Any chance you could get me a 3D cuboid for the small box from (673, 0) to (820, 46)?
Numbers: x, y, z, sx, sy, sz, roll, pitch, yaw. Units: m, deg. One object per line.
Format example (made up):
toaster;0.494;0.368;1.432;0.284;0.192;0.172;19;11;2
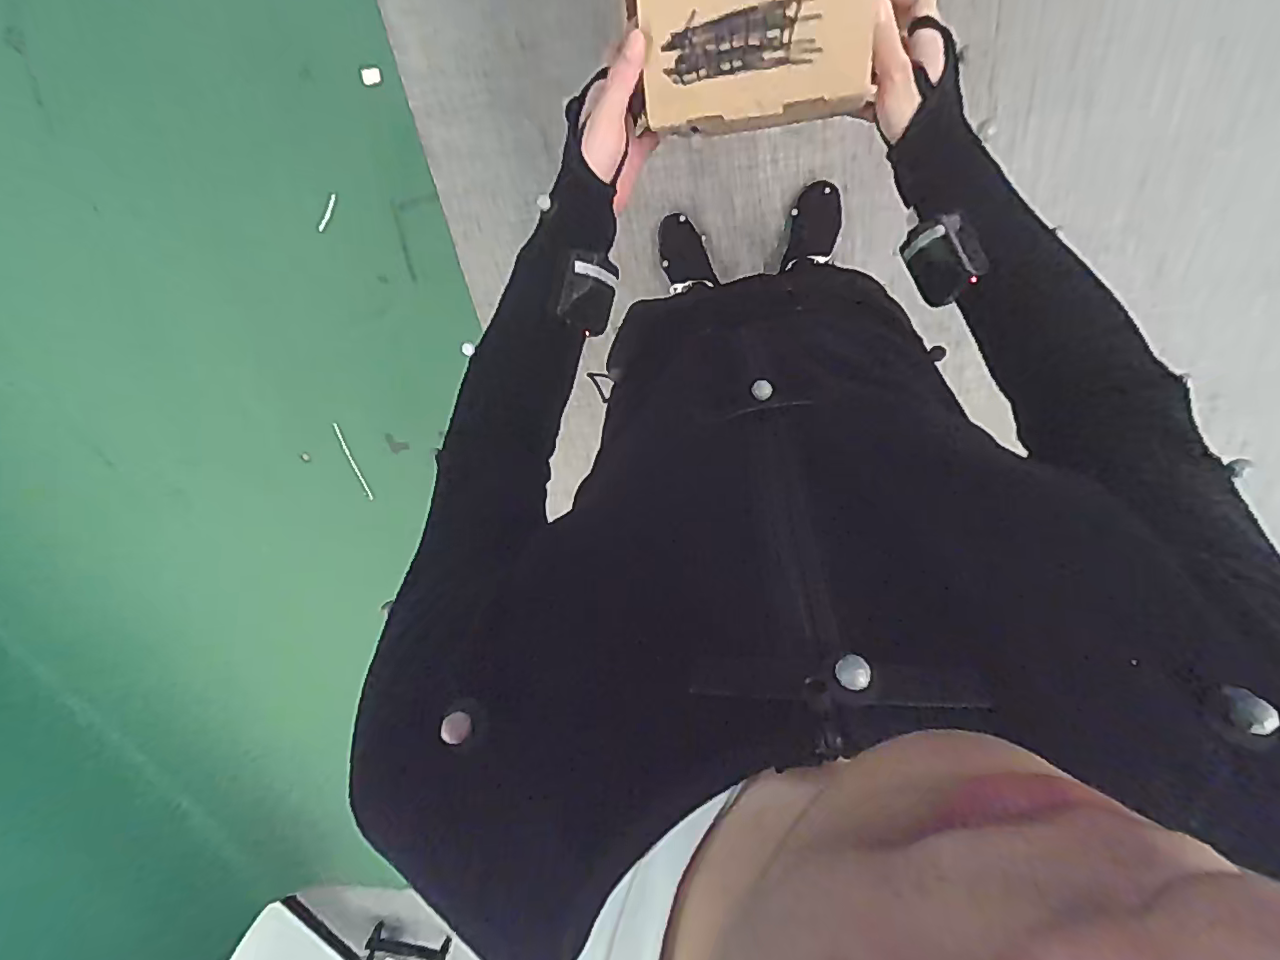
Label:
small box;0.126;-0.633;0.633;0.168;0.176;0.179;1;119;8
